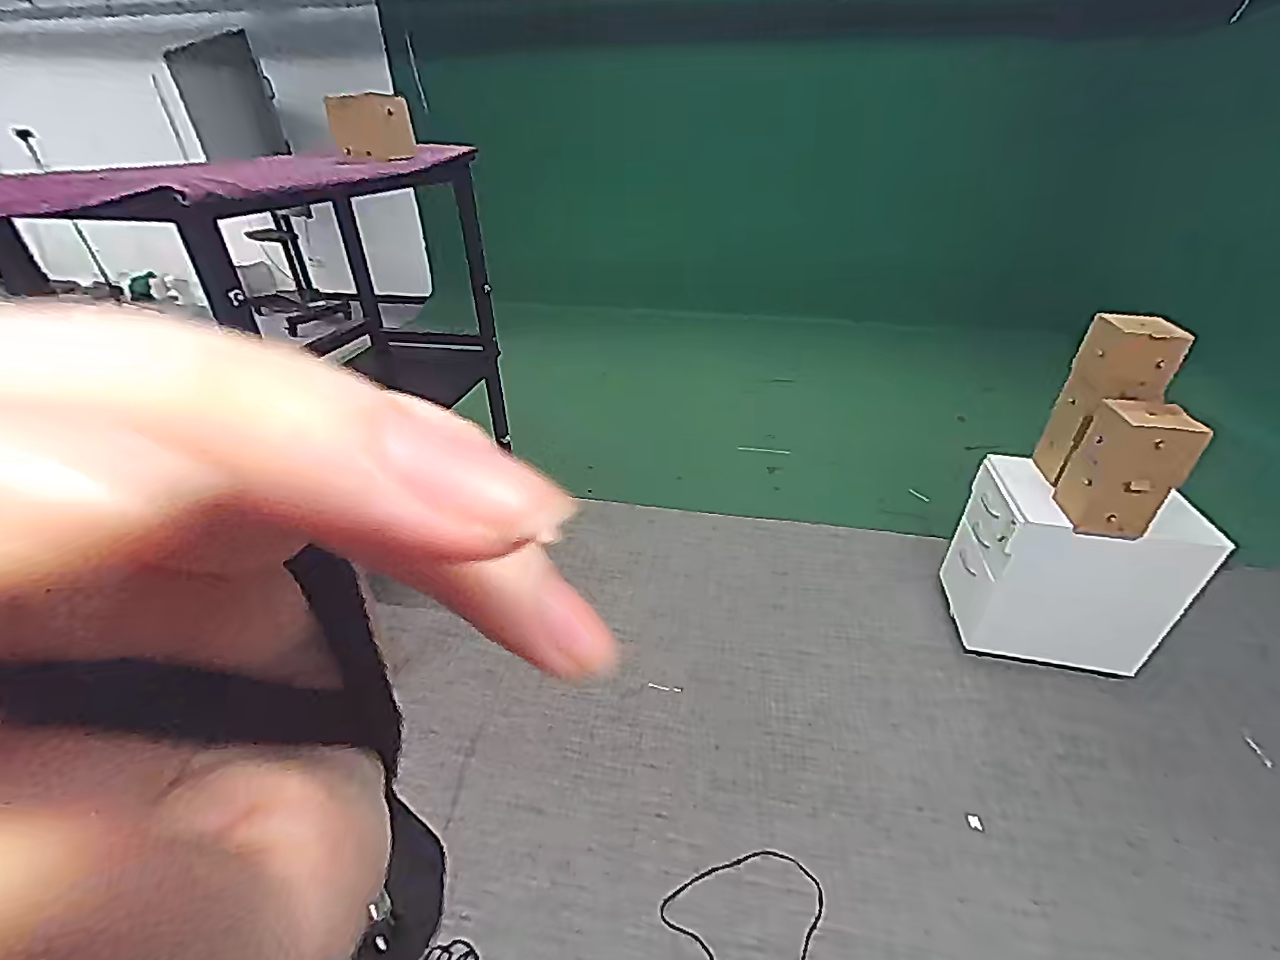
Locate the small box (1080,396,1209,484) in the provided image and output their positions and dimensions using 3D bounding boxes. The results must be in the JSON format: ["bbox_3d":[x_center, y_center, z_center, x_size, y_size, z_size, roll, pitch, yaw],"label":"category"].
[{"bbox_3d":[1.316,-0.106,1.433,0.179,0.176,0.168,8,35,11],"label":"small box"}]

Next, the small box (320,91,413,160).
[{"bbox_3d":[-0.830,-1.088,1.665,0.168,0.176,0.179,4,34,11],"label":"small box"}]

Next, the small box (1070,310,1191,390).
[{"bbox_3d":[1.374,-0.367,1.530,0.168,0.176,0.179,8,35,10],"label":"small box"}]

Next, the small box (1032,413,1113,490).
[{"bbox_3d":[1.384,-0.093,1.710,0.168,0.176,0.179,6,36,10],"label":"small box"}]
